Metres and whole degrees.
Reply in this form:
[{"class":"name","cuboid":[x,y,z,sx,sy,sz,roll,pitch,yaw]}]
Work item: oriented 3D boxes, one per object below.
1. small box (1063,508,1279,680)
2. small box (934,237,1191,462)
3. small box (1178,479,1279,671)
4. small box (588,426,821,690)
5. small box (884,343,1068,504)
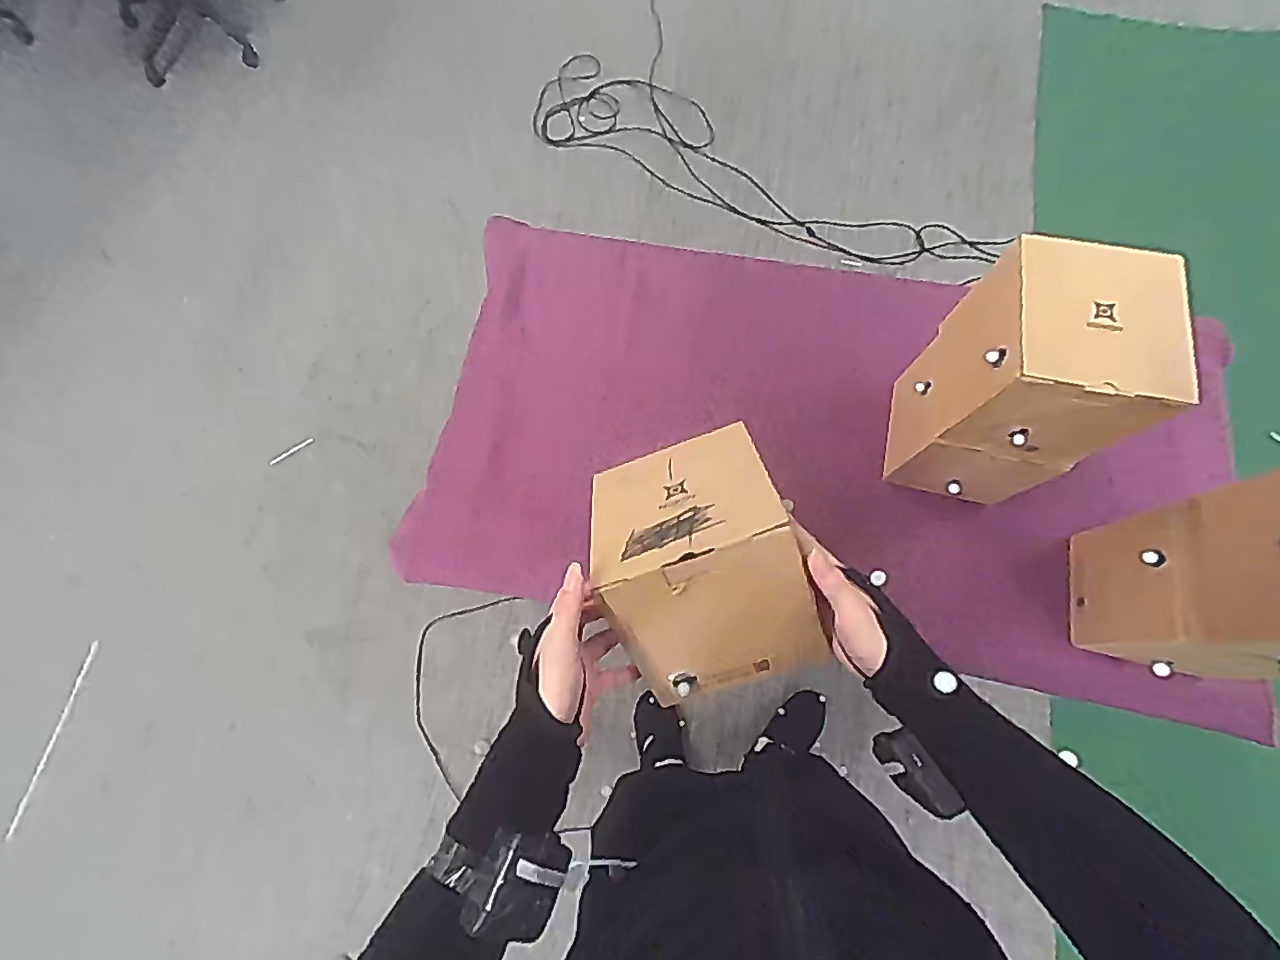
[{"class":"small box","cuboid":[0.697,0.152,0.696,0.179,0.176,0.168,13,72,6]},{"class":"small box","cuboid":[0.462,-0.139,0.620,0.168,0.176,0.179,11,74,4]},{"class":"small box","cuboid":[0.698,0.098,0.541,0.168,0.176,0.179,13,73,7]},{"class":"small box","cuboid":[0.061,0.080,0.531,0.168,0.176,0.179,-20,30,10]},{"class":"small box","cuboid":[0.470,-0.084,0.773,0.168,0.176,0.179,14,73,5]}]
